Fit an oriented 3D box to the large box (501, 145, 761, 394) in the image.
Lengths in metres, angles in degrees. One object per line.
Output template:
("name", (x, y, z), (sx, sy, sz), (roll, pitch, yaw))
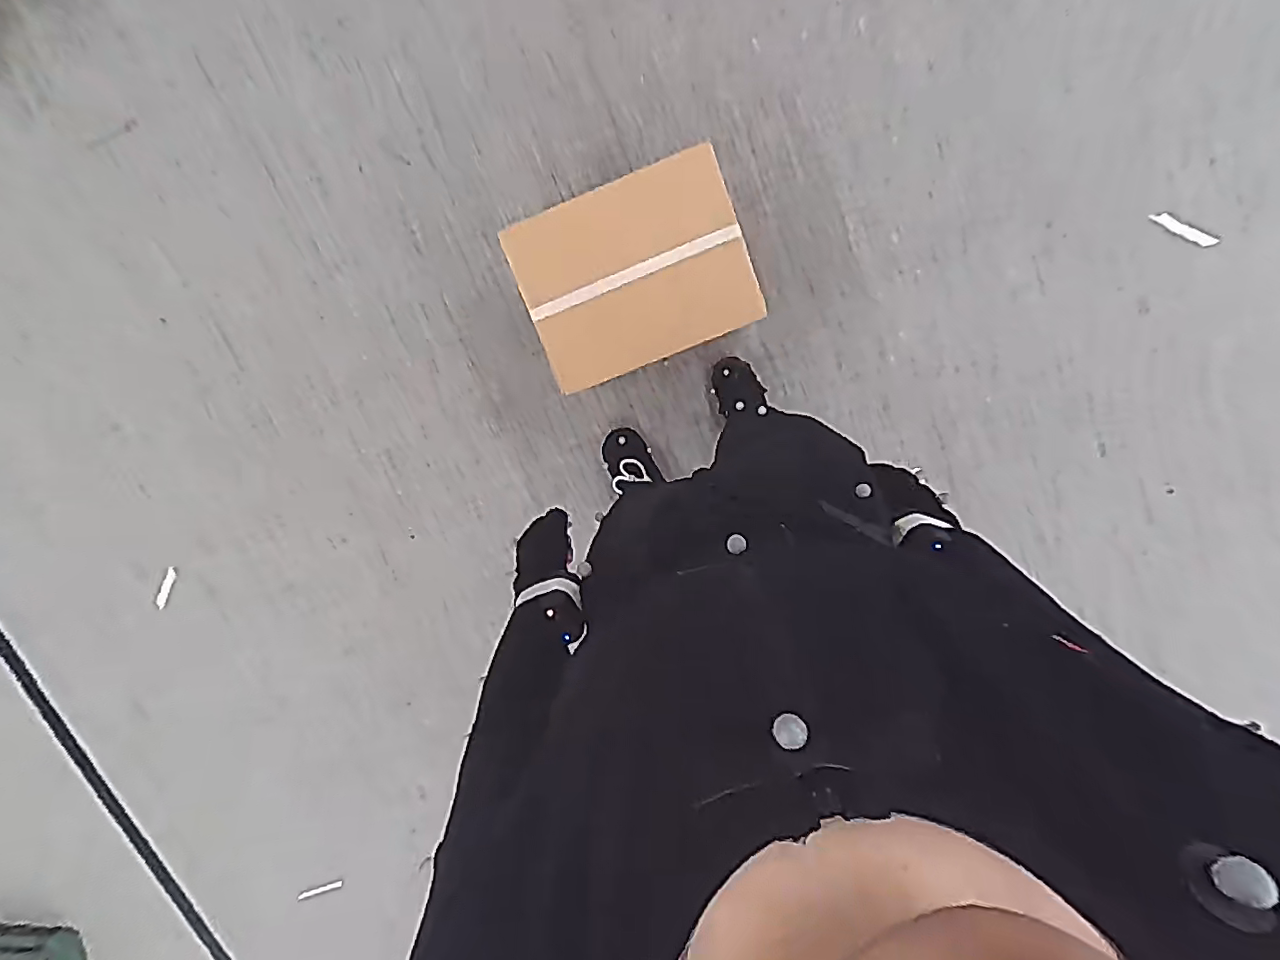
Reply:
("large box", (-0.012, -0.401, 1.123), (0.408, 0.320, 0.320), (-20, 102, 6))
